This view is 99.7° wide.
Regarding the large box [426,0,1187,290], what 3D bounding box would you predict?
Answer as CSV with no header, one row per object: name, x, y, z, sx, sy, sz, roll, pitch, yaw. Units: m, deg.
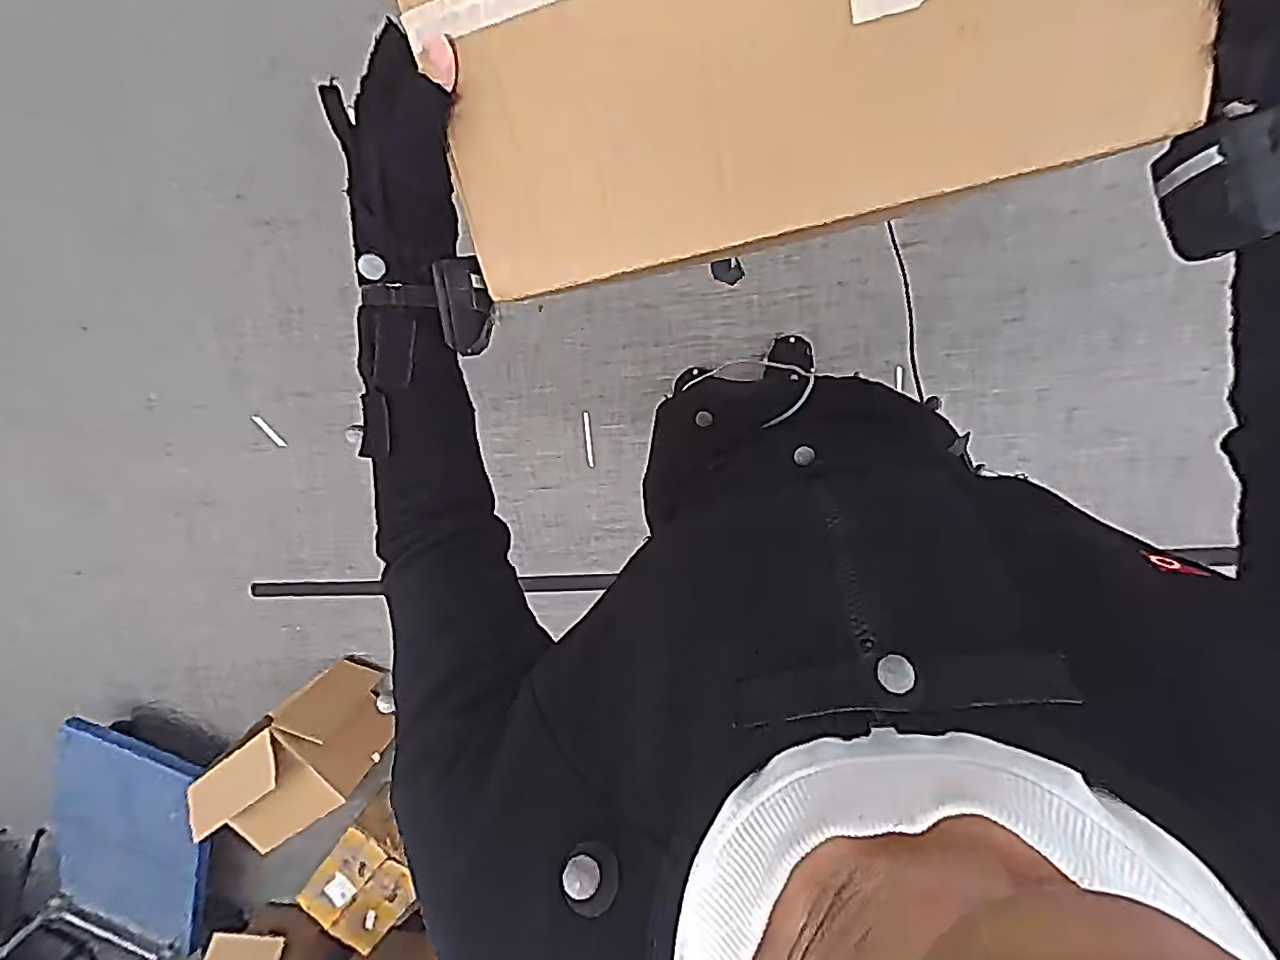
large box,0.086,-0.356,0.424,0.408,0.320,0.320,-9,110,12
